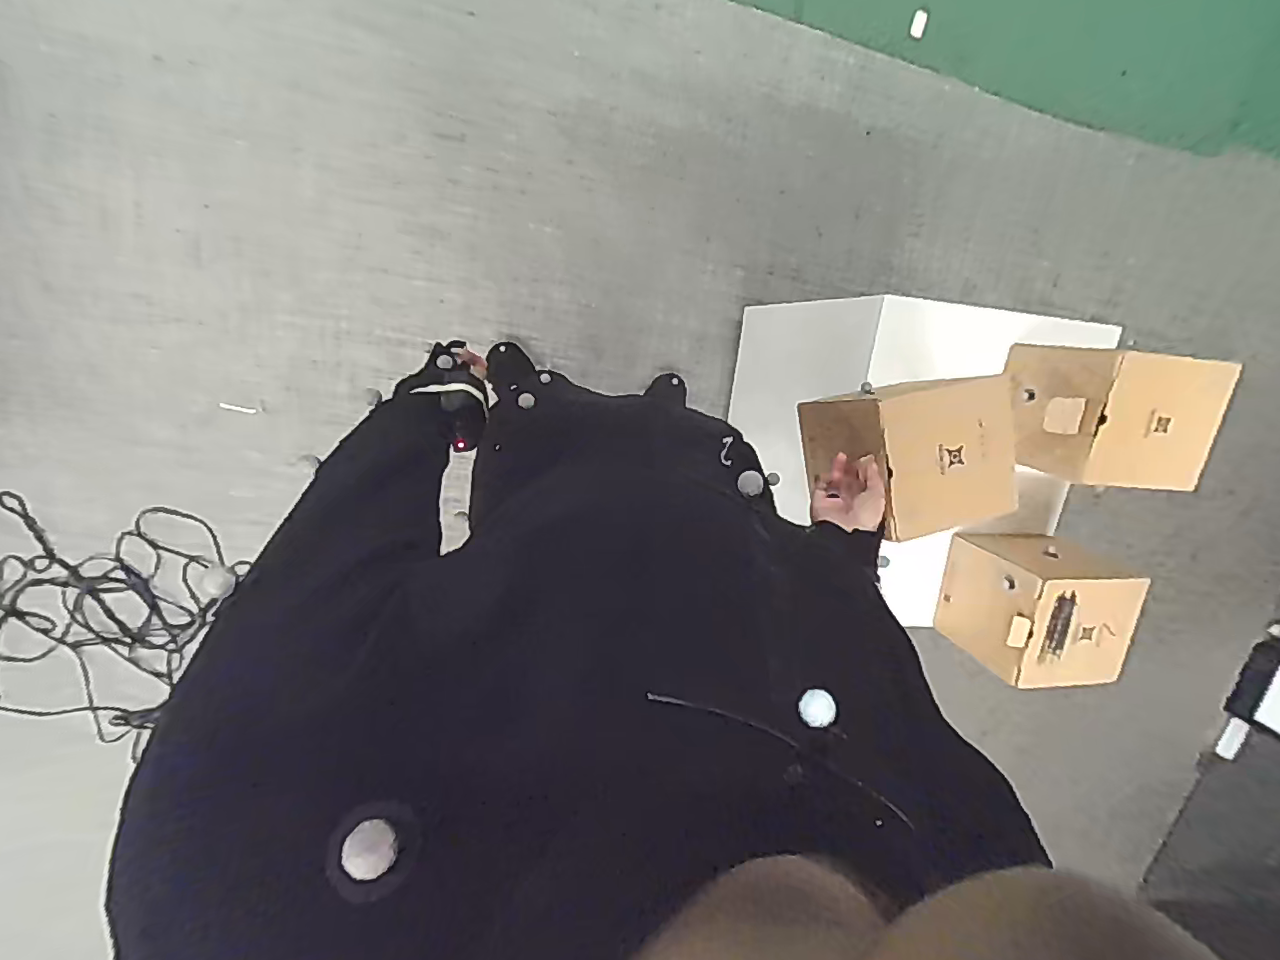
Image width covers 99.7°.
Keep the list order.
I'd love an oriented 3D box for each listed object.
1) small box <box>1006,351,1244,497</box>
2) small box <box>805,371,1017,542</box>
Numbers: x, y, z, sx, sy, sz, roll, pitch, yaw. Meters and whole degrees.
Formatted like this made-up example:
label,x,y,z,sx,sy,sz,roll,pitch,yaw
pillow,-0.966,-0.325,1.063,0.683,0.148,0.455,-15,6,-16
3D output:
label,x,y,z,sx,sy,sz,roll,pitch,yaw
small box,0.630,-0.083,0.740,0.179,0.176,0.168,4,106,-9
small box,0.326,-0.035,0.681,0.179,0.176,0.168,-14,100,-13
